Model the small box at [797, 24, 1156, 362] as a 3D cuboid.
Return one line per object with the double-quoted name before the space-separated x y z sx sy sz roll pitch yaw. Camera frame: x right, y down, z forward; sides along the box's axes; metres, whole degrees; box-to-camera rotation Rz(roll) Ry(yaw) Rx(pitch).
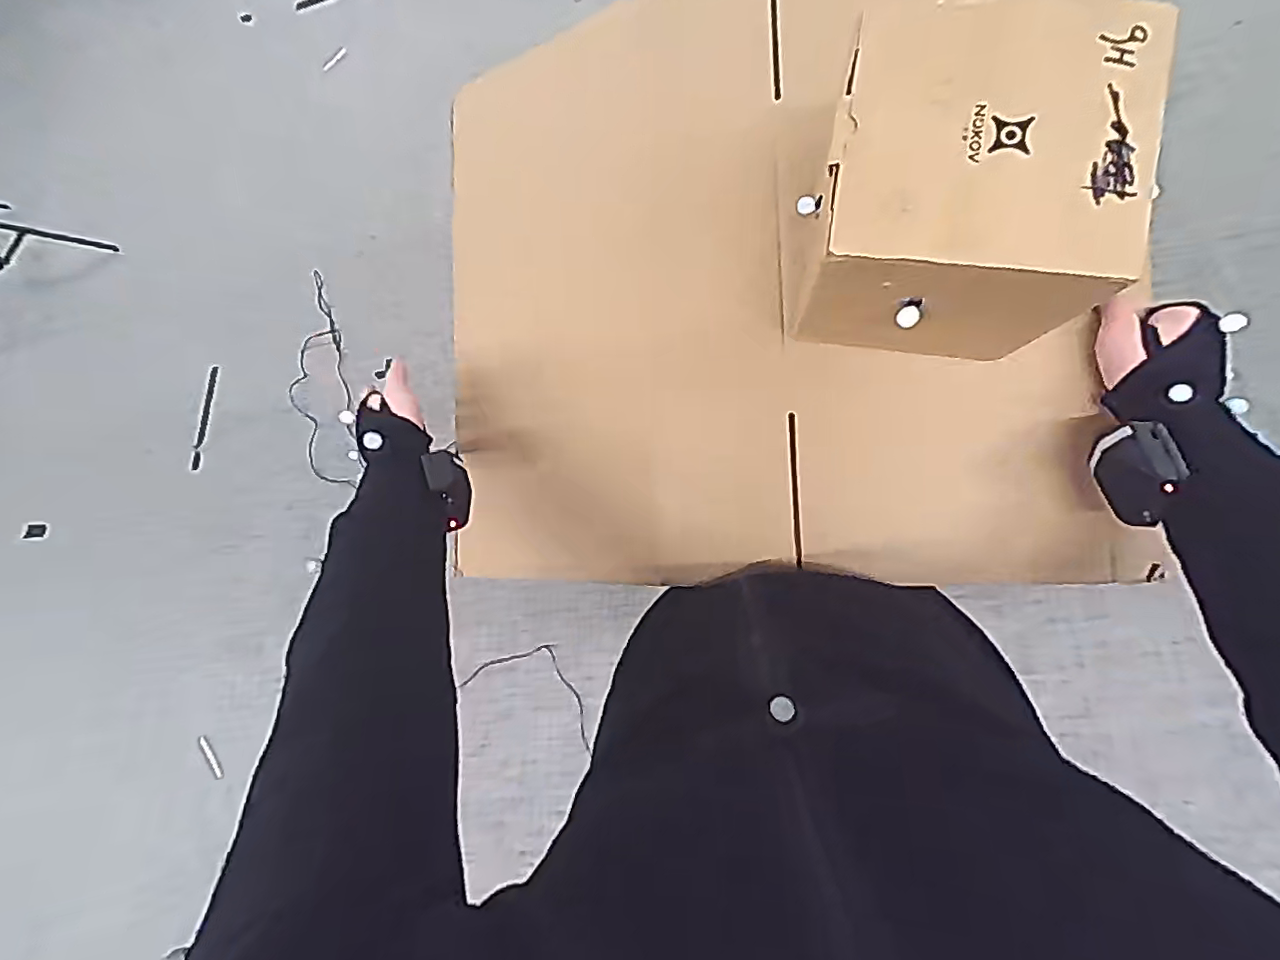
"small box" 0.224 -0.196 0.412 0.179 0.176 0.168 9 89 11
